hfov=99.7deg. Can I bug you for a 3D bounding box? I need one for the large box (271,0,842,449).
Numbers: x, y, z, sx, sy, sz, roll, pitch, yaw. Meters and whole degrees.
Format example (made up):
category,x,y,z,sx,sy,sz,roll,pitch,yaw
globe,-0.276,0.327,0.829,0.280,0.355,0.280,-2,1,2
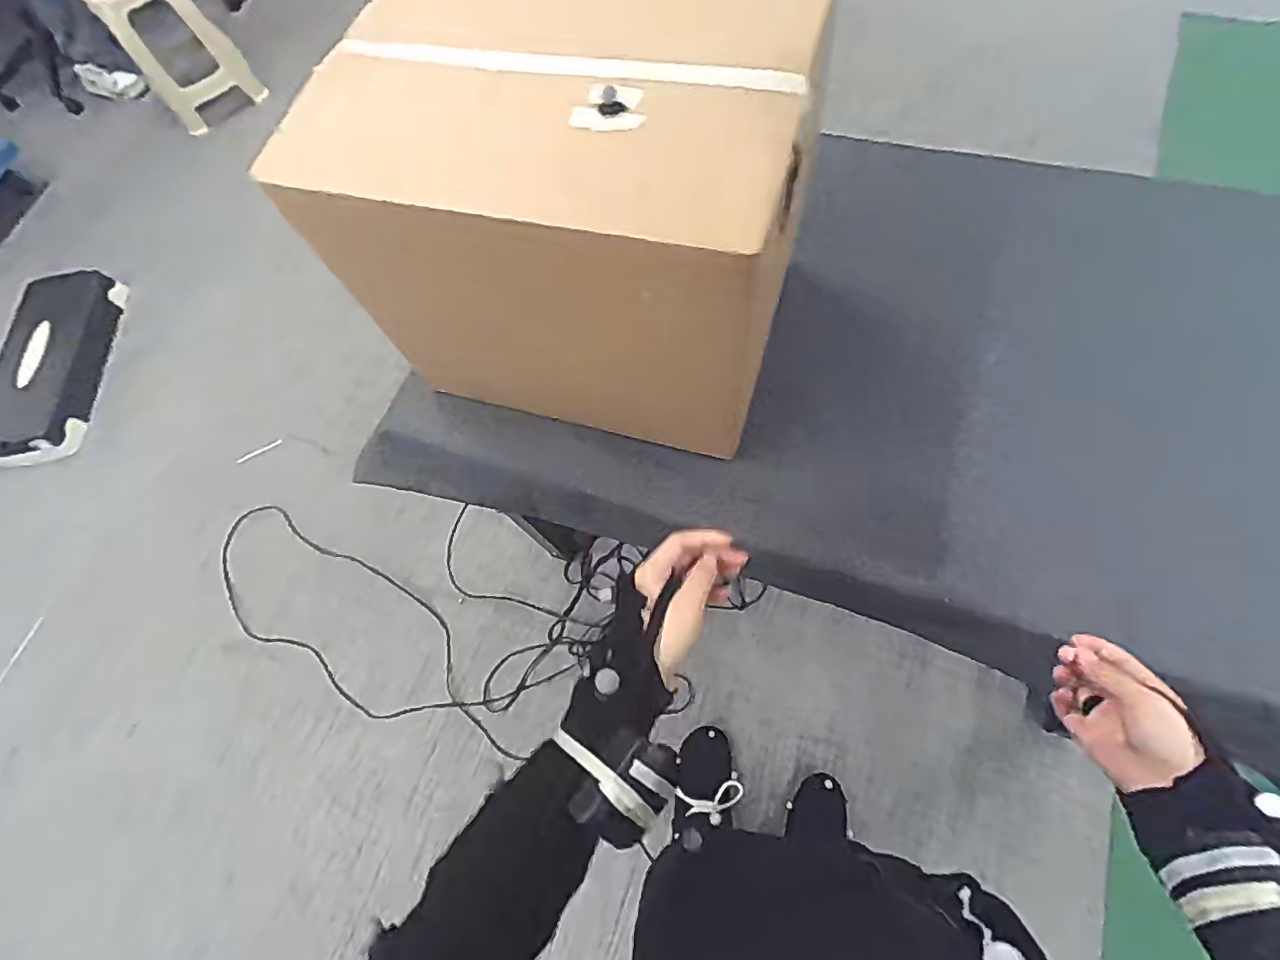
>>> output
category,x,y,z,sx,sy,sz,roll,pitch,yaw
large box,-0.049,-0.267,0.576,0.408,0.320,0.320,14,70,11
